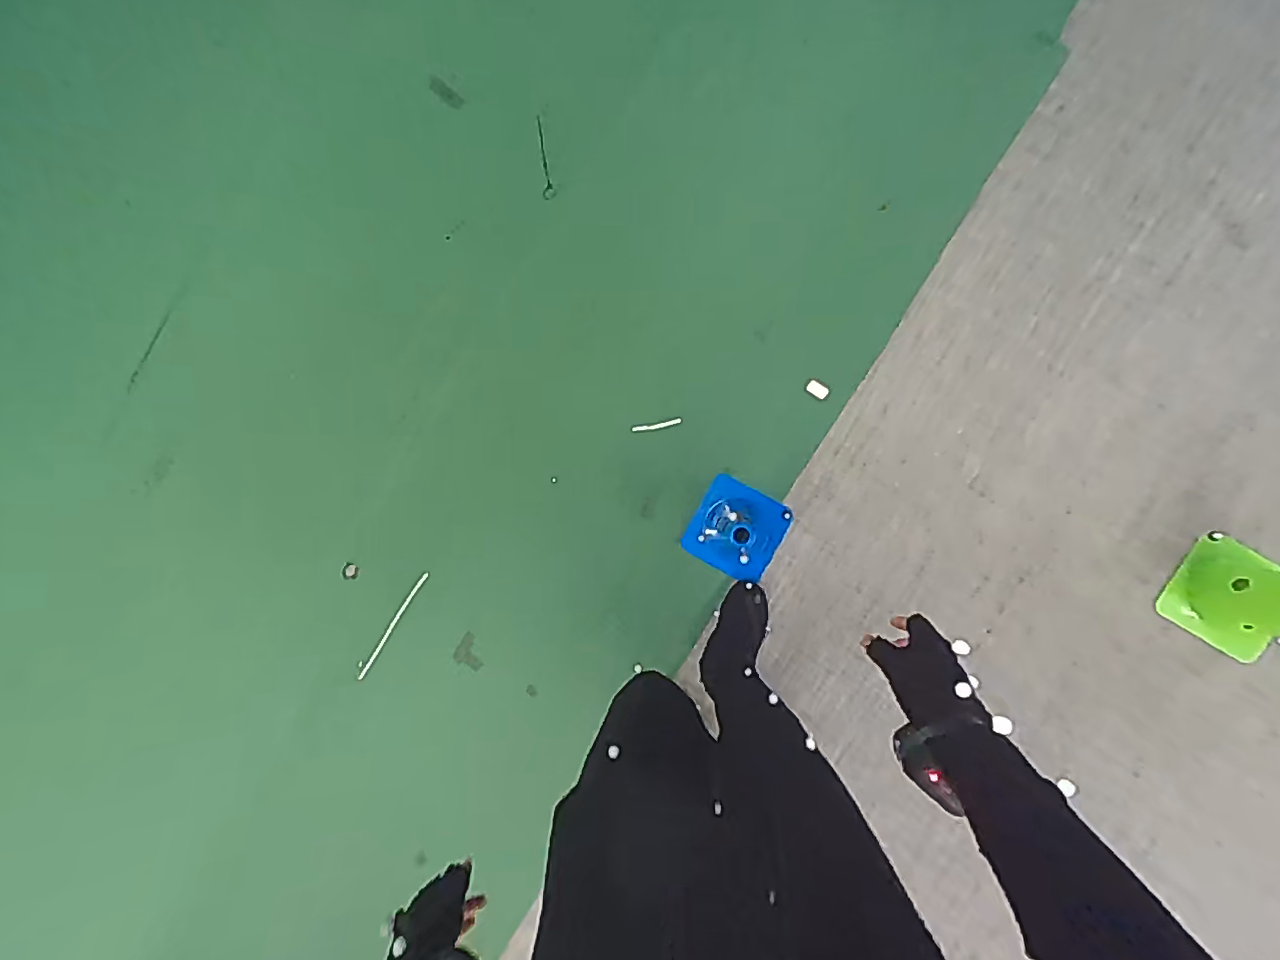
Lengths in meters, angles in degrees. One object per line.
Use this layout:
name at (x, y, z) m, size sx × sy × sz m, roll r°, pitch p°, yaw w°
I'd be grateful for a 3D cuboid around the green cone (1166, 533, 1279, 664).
green cone at (1.141, 0.221, 0.887) m, size 0.202 × 0.368 × 0.200 m, roll 32°, pitch 92°, yaw 9°
